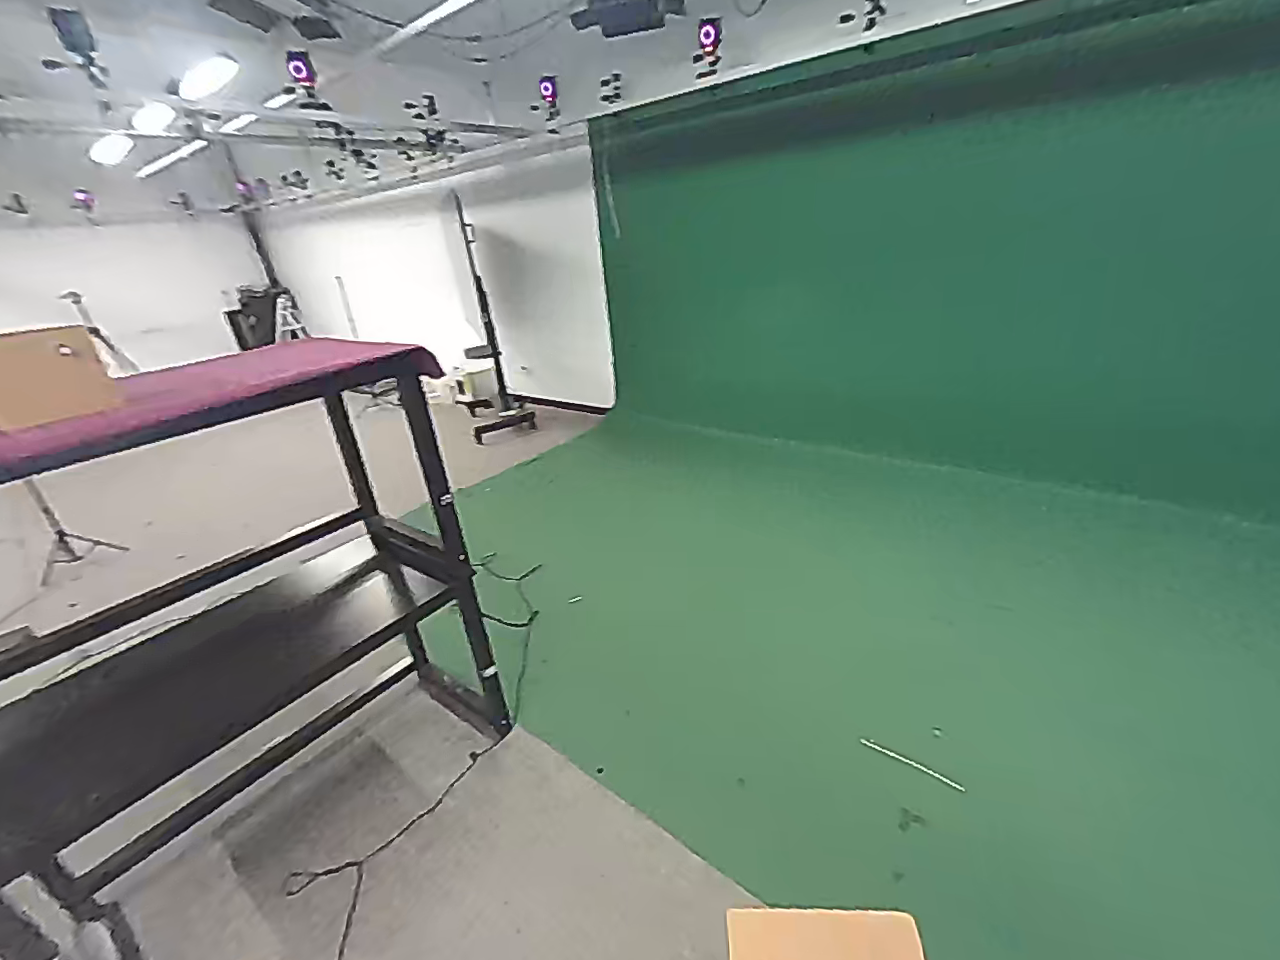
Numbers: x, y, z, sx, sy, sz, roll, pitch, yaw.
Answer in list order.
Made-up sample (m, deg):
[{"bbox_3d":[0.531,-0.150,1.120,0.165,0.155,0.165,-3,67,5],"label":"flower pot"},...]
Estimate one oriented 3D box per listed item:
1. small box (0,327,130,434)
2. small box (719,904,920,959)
[{"bbox_3d":[-1.162,-0.204,1.073,0.168,0.176,0.179,12,30,37],"label":"small box"},{"bbox_3d":[0.161,0.516,0.482,0.179,0.176,0.168,-1,30,5],"label":"small box"}]
